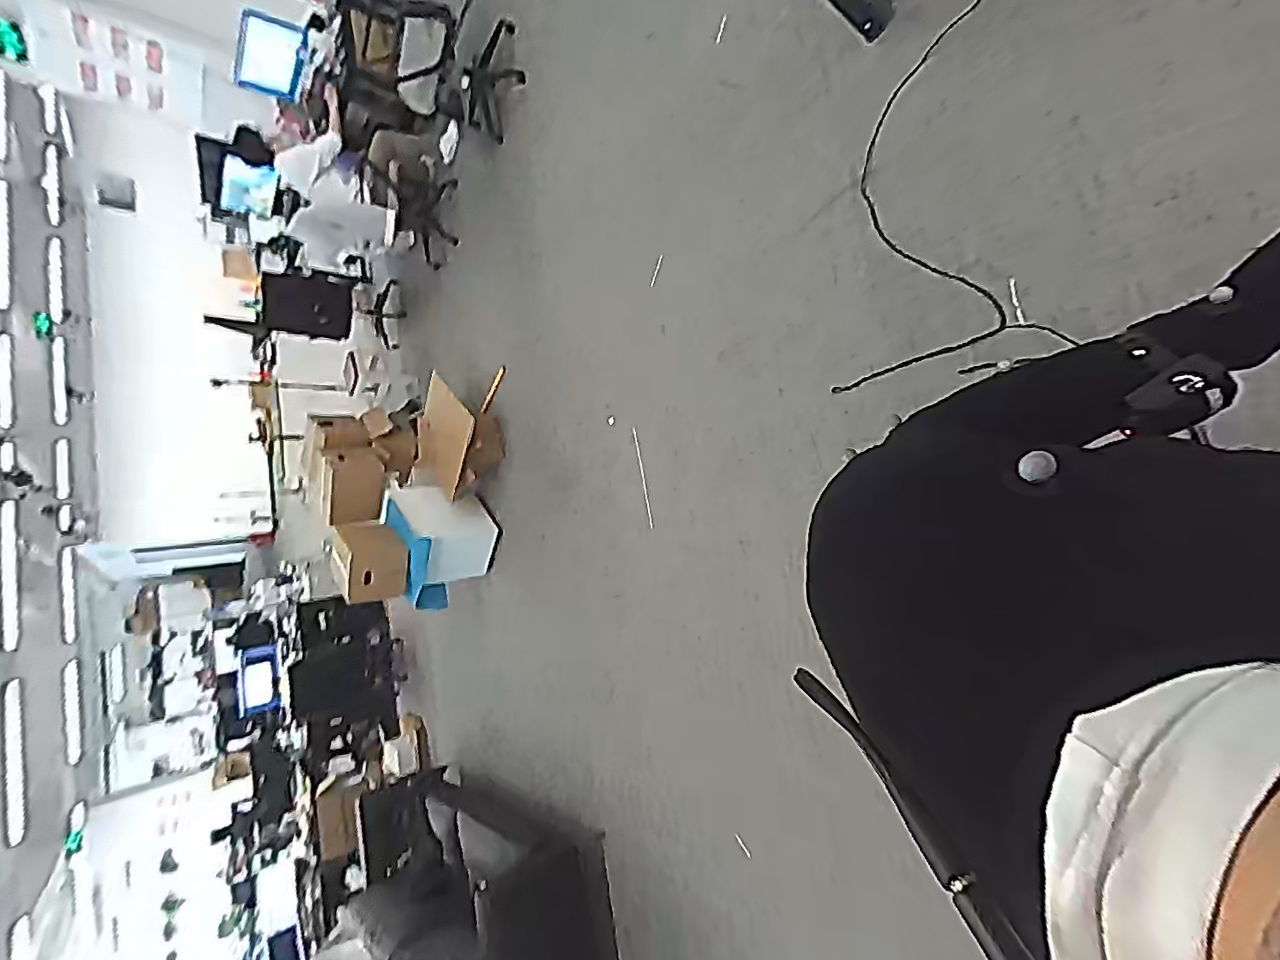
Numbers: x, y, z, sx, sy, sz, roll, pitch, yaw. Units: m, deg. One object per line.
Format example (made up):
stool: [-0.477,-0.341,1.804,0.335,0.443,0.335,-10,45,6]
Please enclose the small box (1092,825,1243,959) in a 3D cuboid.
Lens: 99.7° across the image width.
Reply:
small box: [1.092,0.847,1.126,0.168,0.176,0.179,-35,67,43]
